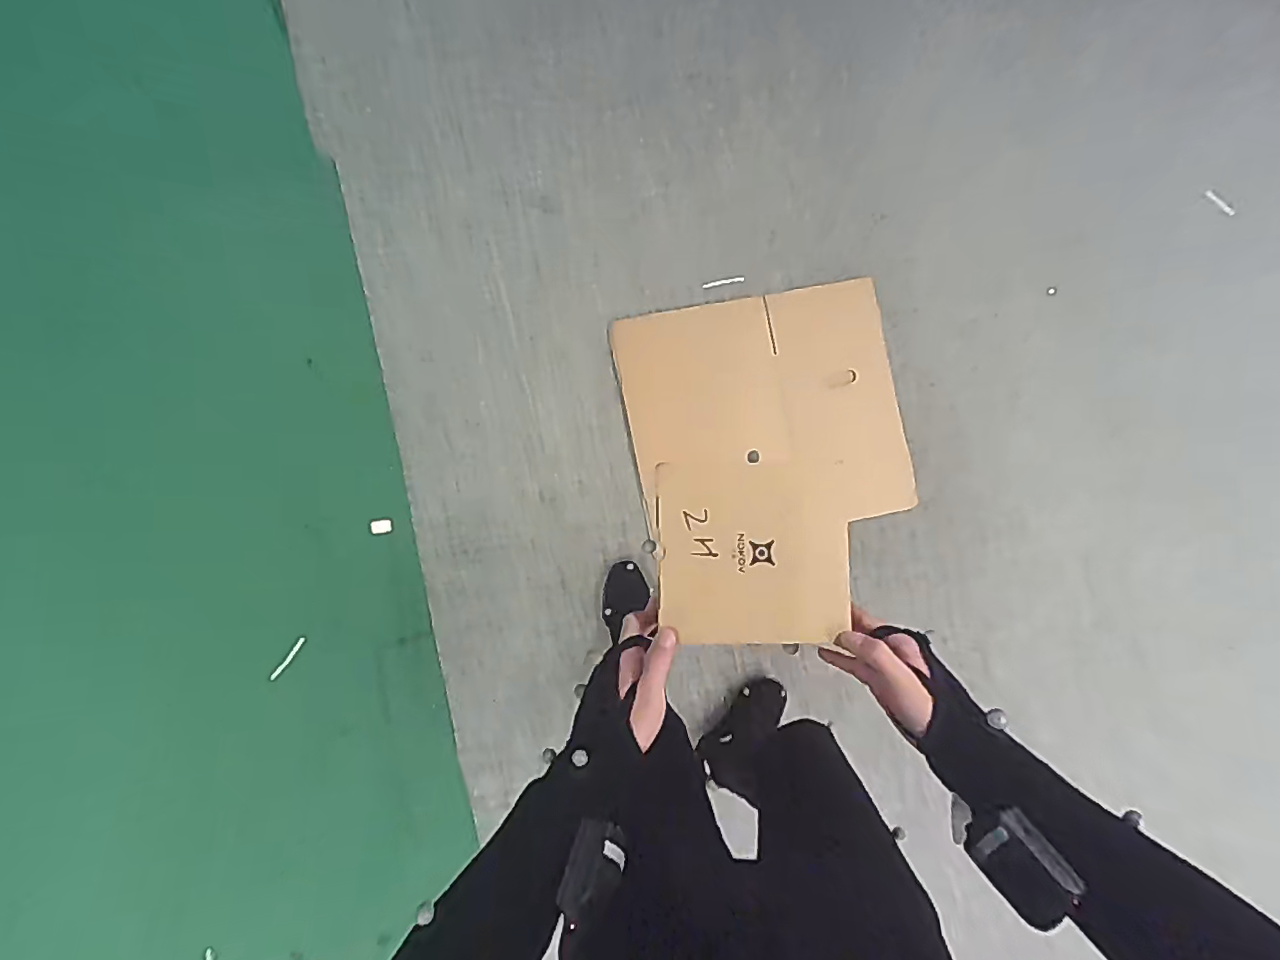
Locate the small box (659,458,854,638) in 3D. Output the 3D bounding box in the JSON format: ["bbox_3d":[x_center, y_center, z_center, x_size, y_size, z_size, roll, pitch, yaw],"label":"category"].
[{"bbox_3d":[0.109,0.066,0.573,0.179,0.176,0.168,0,85,2],"label":"small box"}]
